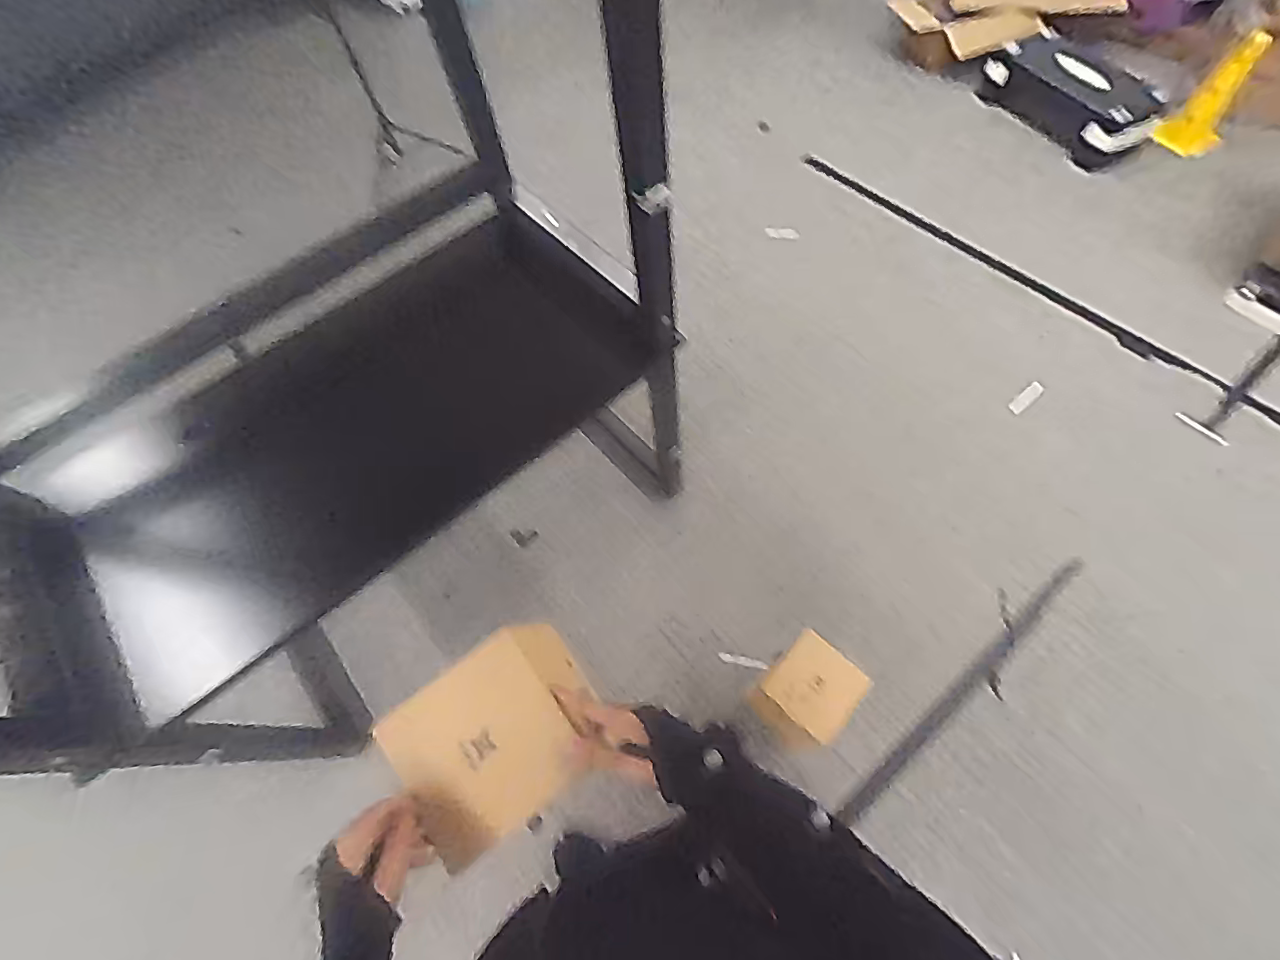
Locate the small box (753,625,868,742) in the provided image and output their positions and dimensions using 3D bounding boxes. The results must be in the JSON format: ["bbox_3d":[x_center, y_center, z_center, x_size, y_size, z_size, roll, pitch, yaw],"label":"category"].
[{"bbox_3d":[0.372,0.458,1.216,0.168,0.176,0.179,40,75,20],"label":"small box"}]
